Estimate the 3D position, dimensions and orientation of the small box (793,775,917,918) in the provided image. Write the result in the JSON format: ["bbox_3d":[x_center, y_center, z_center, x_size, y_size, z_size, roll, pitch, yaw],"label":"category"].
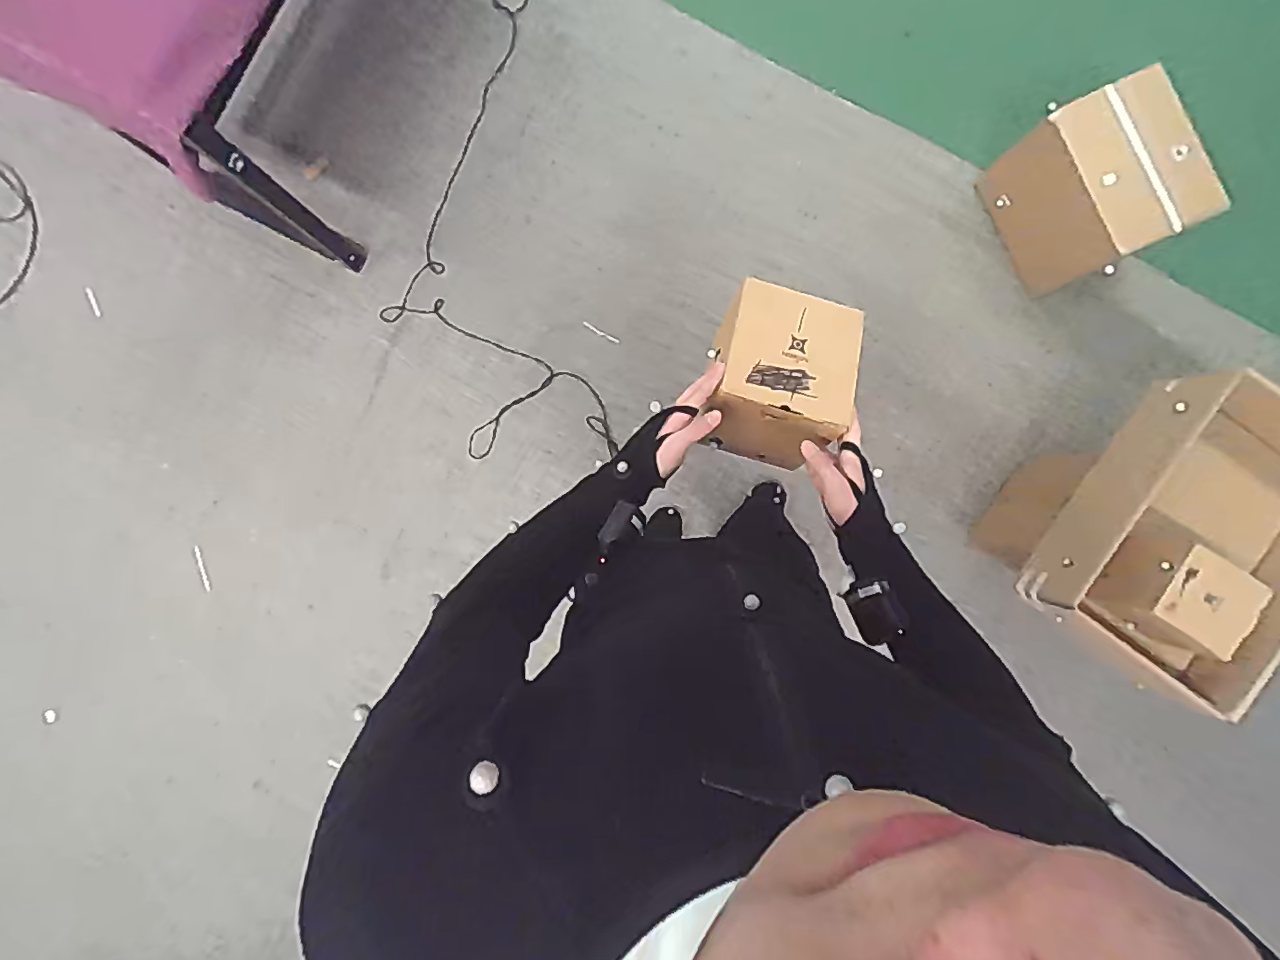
[{"bbox_3d":[0.477,0.818,1.226,0.168,0.176,0.179,-31,87,-1],"label":"small box"}]

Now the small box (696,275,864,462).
[{"bbox_3d":[0.182,-0.142,0.749,0.168,0.176,0.179,15,72,-3],"label":"small box"}]
